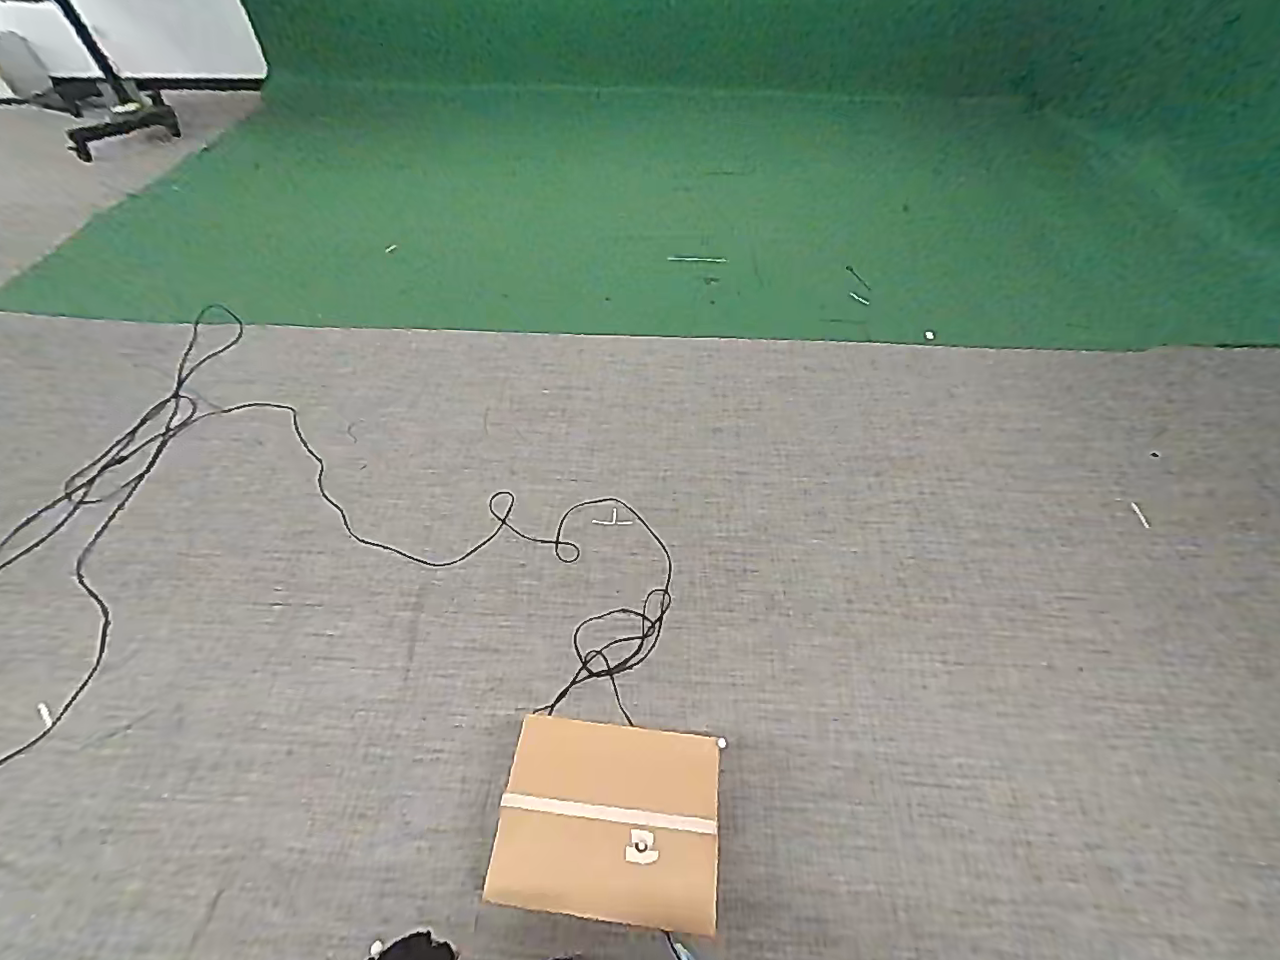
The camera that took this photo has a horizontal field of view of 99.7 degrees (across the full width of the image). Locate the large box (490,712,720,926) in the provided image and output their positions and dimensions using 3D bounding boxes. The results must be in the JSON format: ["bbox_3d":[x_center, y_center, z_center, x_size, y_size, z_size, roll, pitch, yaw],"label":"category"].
[{"bbox_3d":[-0.052,0.709,1.130,0.408,0.320,0.320,5,52,4],"label":"large box"}]
